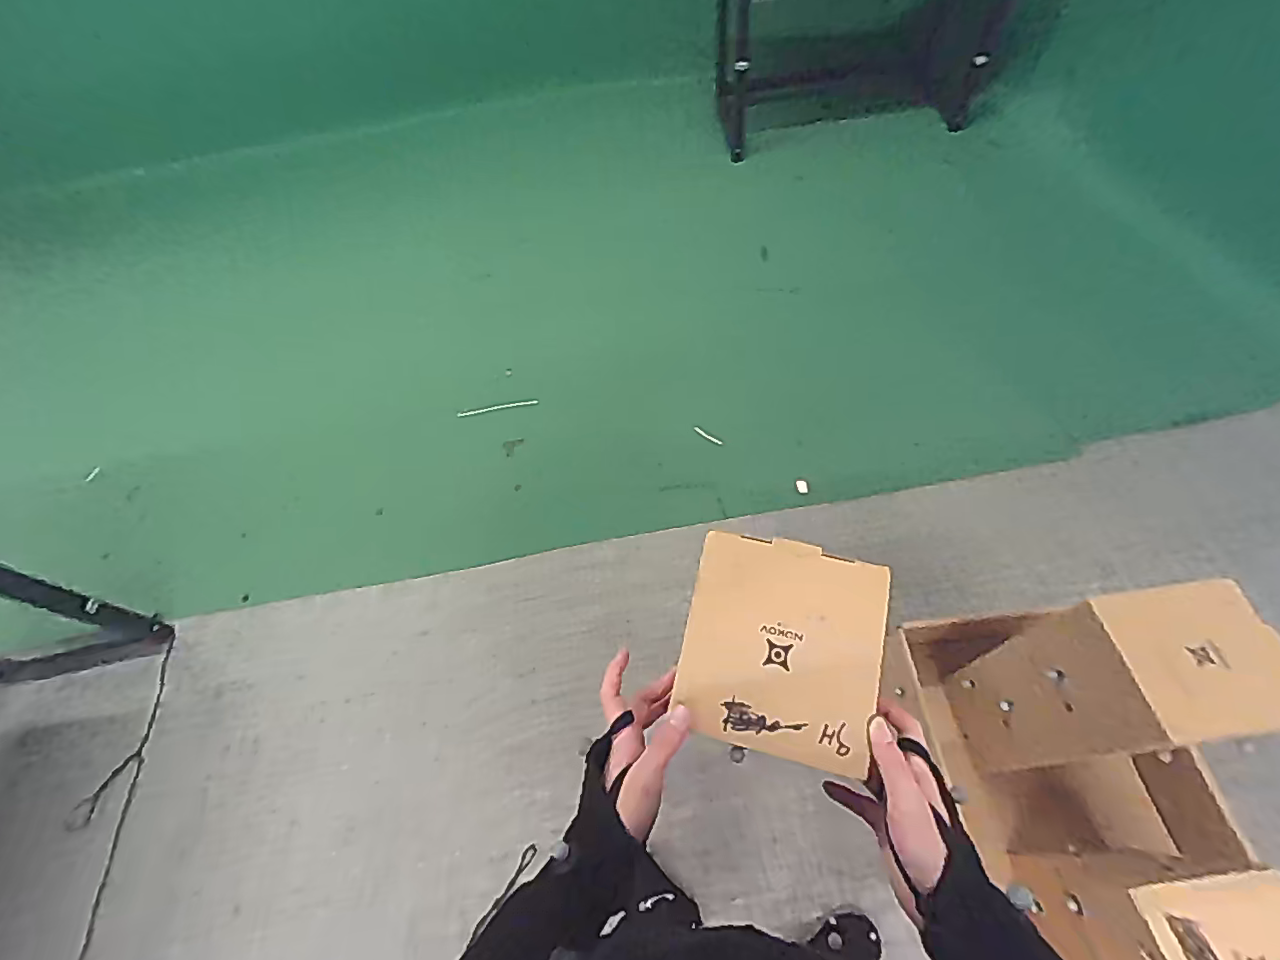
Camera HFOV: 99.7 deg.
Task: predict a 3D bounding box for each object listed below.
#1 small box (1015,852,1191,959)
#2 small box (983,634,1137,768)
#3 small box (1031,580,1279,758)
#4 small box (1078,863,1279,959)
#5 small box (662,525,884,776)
[{"bbox_3d":[0.706,0.653,0.793,0.179,0.176,0.168,-6,58,5],"label":"small box"},{"bbox_3d":[0.663,0.324,0.808,0.179,0.176,0.168,-9,57,2],"label":"small box"},{"bbox_3d":[0.645,0.239,0.670,0.179,0.176,0.168,-8,57,2],"label":"small box"},{"bbox_3d":[0.682,0.574,0.650,0.179,0.176,0.168,-9,58,1],"label":"small box"},{"bbox_3d":[0.123,0.162,0.536,0.168,0.176,0.179,11,73,10],"label":"small box"}]
